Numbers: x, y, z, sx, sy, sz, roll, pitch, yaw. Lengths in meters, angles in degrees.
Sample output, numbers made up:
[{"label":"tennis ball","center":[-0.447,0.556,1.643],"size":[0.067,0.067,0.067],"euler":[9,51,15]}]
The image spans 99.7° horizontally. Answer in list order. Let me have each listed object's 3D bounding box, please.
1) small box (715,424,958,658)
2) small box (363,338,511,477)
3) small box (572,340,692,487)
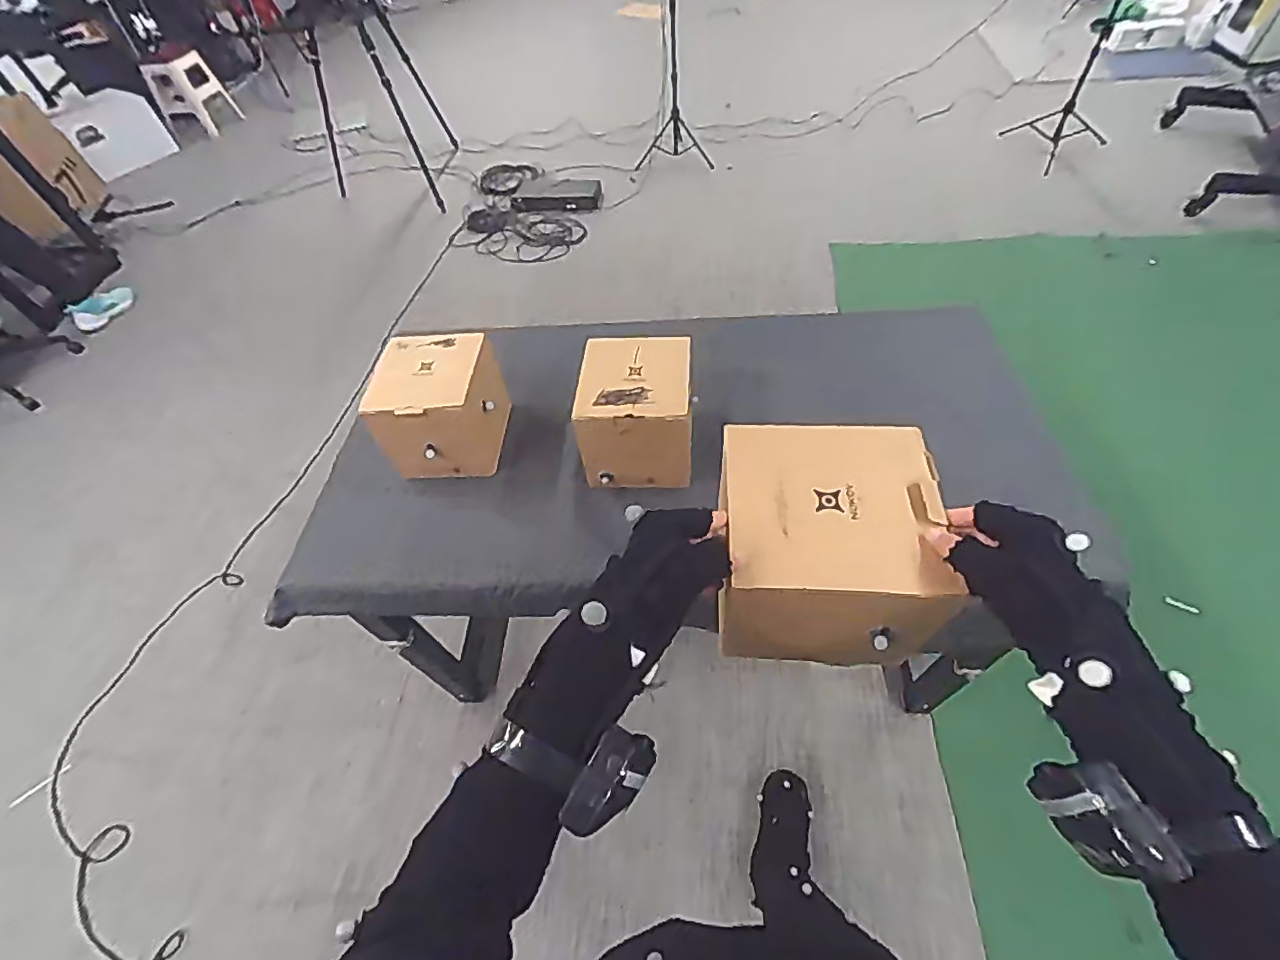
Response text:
[{"label":"small box","center":[0.164,0.063,0.521],"size":[0.179,0.176,0.168],"euler":[-1,53,6]},{"label":"small box","center":[-0.330,-0.116,0.923],"size":[0.168,0.176,0.179],"euler":[-2,54,5]},{"label":"small box","center":[-0.003,-0.102,0.874],"size":[0.168,0.176,0.179],"euler":[0,52,7]}]
